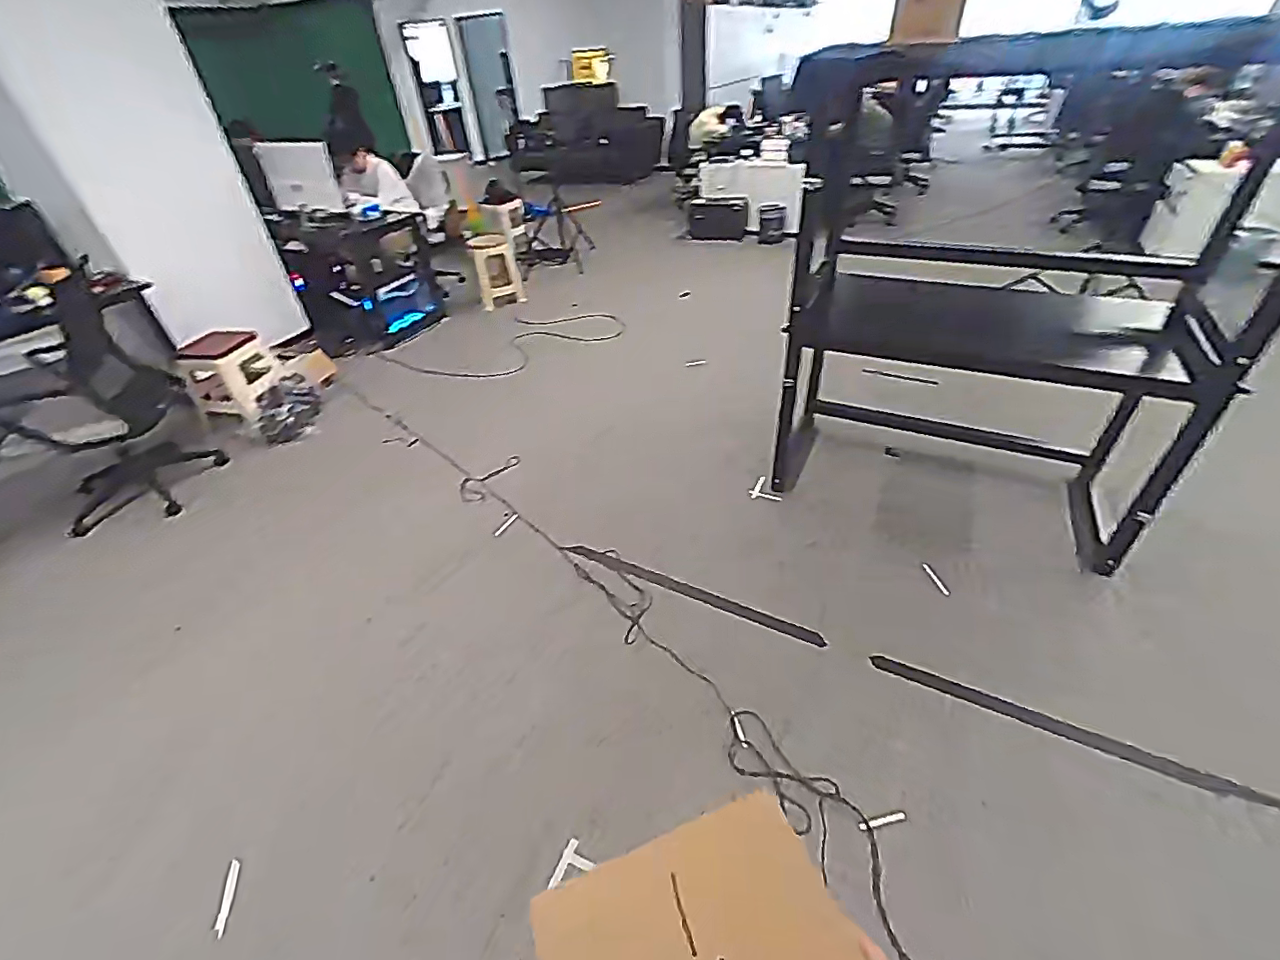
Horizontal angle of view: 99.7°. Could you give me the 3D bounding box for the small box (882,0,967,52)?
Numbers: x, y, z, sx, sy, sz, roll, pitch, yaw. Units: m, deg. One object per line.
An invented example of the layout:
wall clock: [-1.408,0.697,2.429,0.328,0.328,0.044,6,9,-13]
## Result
small box: [0.700,-1.157,1.313,0.168,0.176,0.179,15,41,22]

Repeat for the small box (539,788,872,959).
small box: [0.049,0.333,0.320,0.168,0.176,0.179,-15,36,-13]
